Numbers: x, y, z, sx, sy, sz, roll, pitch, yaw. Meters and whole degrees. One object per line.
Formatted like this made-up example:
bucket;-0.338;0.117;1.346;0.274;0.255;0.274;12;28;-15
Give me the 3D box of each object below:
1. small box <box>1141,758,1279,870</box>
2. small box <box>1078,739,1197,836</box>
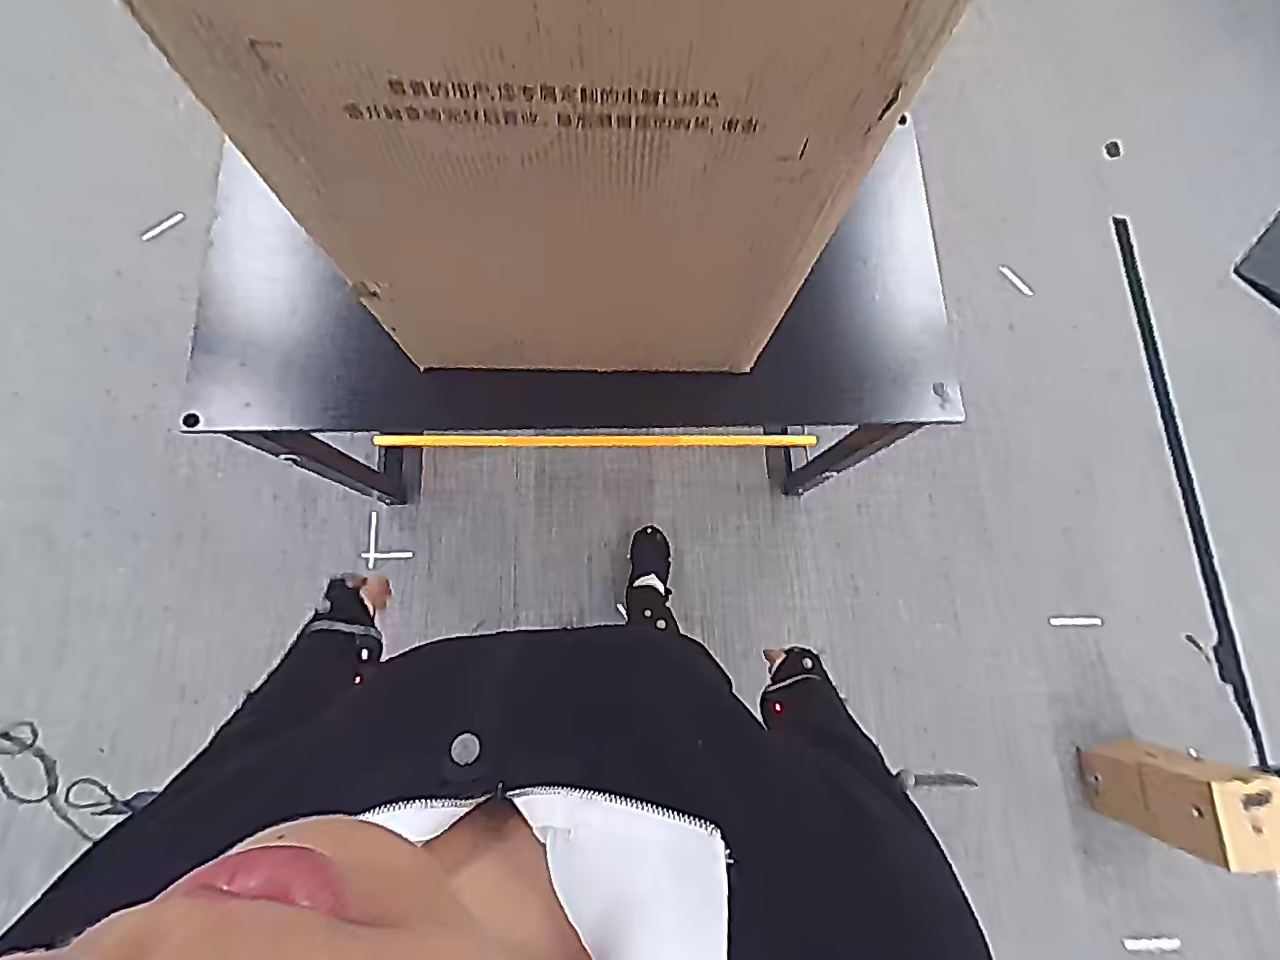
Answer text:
small box;1.298;0.743;1.225;0.168;0.176;0.179;-1;78;-3
small box;1.288;0.779;1.386;0.179;0.176;0.168;-6;77;-3
